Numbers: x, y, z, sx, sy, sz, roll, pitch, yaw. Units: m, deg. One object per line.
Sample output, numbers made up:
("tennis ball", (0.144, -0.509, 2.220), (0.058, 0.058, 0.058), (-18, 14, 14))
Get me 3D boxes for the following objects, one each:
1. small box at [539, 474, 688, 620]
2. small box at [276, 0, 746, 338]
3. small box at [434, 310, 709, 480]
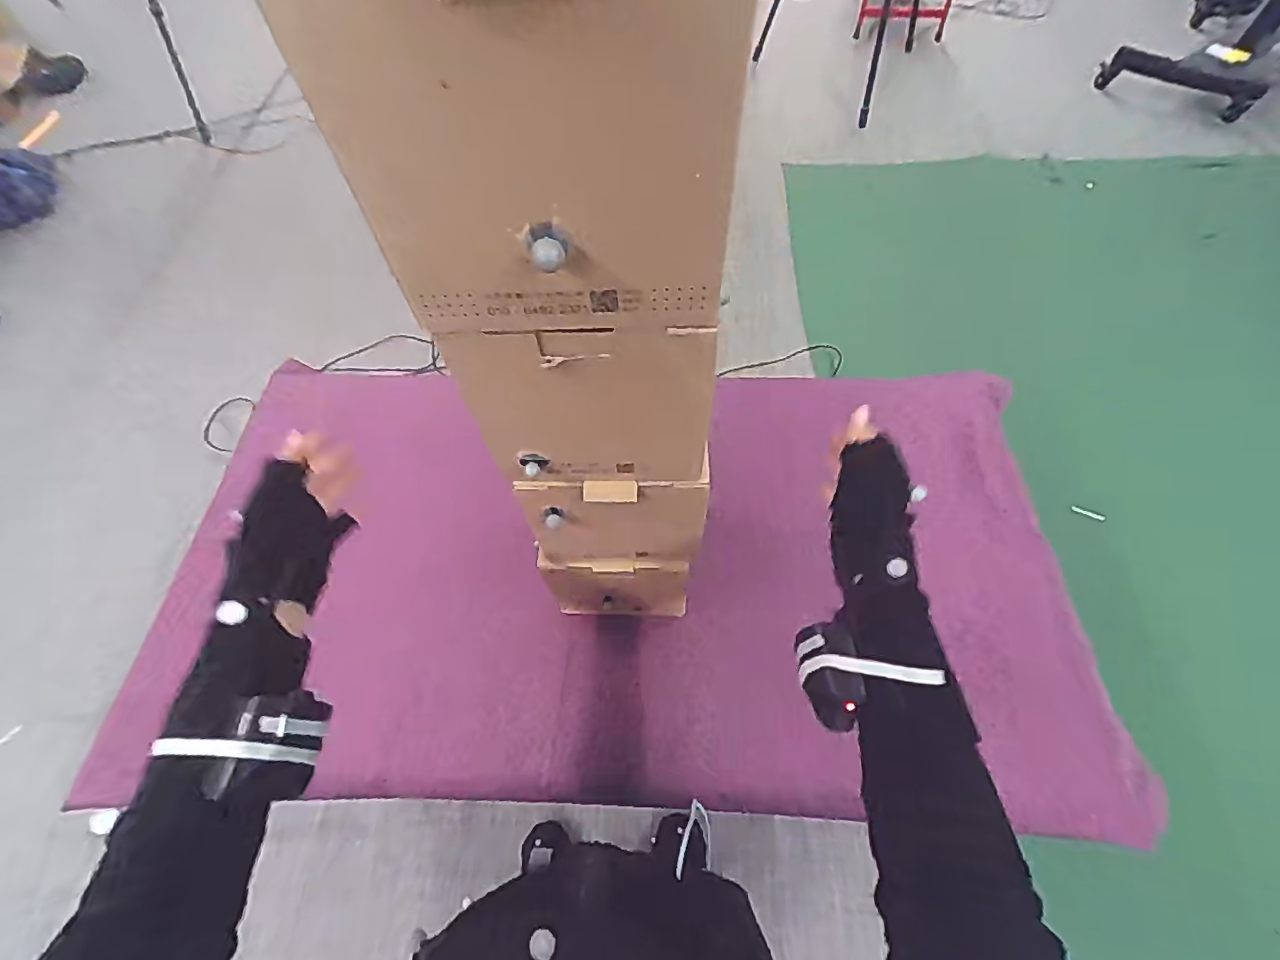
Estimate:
("small box", (-0.025, 0.069, 0.697), (0.168, 0.176, 0.179), (1, 60, 3))
("small box", (-0.044, -0.197, 0.280), (0.168, 0.176, 0.179), (-1, 59, 2))
("small box", (-0.035, -0.111, 0.421), (0.168, 0.176, 0.179), (0, 58, 2))
